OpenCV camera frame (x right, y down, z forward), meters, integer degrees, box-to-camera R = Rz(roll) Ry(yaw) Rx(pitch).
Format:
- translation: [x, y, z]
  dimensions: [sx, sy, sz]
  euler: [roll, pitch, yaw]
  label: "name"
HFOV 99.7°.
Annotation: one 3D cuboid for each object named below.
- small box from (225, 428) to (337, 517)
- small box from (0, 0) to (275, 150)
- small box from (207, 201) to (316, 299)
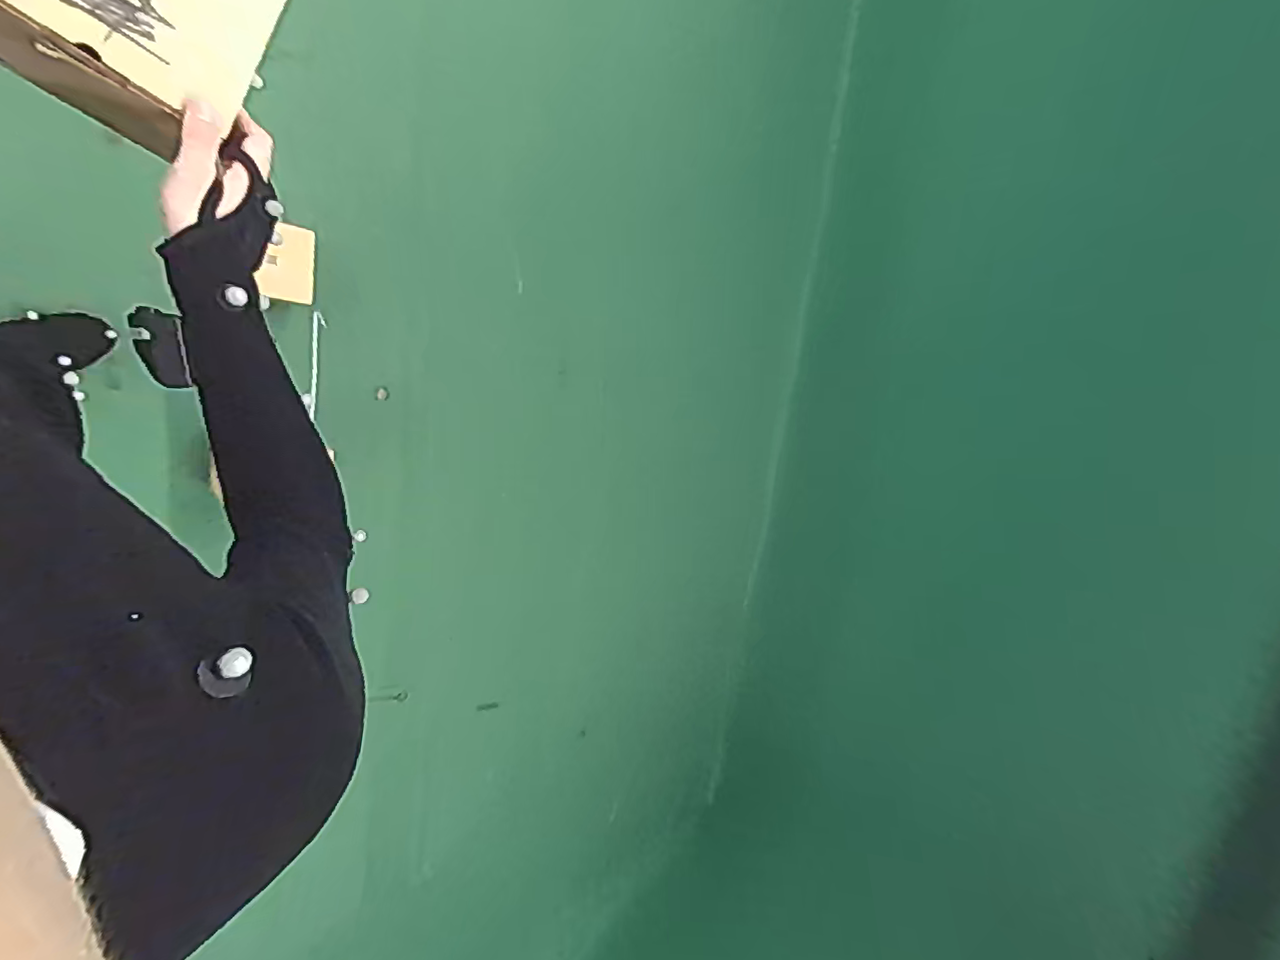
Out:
- translation: [-0.814, -0.020, 1.224]
  dimensions: [0.179, 0.176, 0.168]
  euler: [0, 104, -46]
  label: "small box"
- translation: [-0.412, -0.397, 0.424]
  dimensions: [0.168, 0.176, 0.179]
  euler: [23, 86, -51]
  label: "small box"
- translation: [-0.870, -0.519, 1.241]
  dimensions: [0.179, 0.176, 0.168]
  euler: [-2, 105, -45]
  label: "small box"
